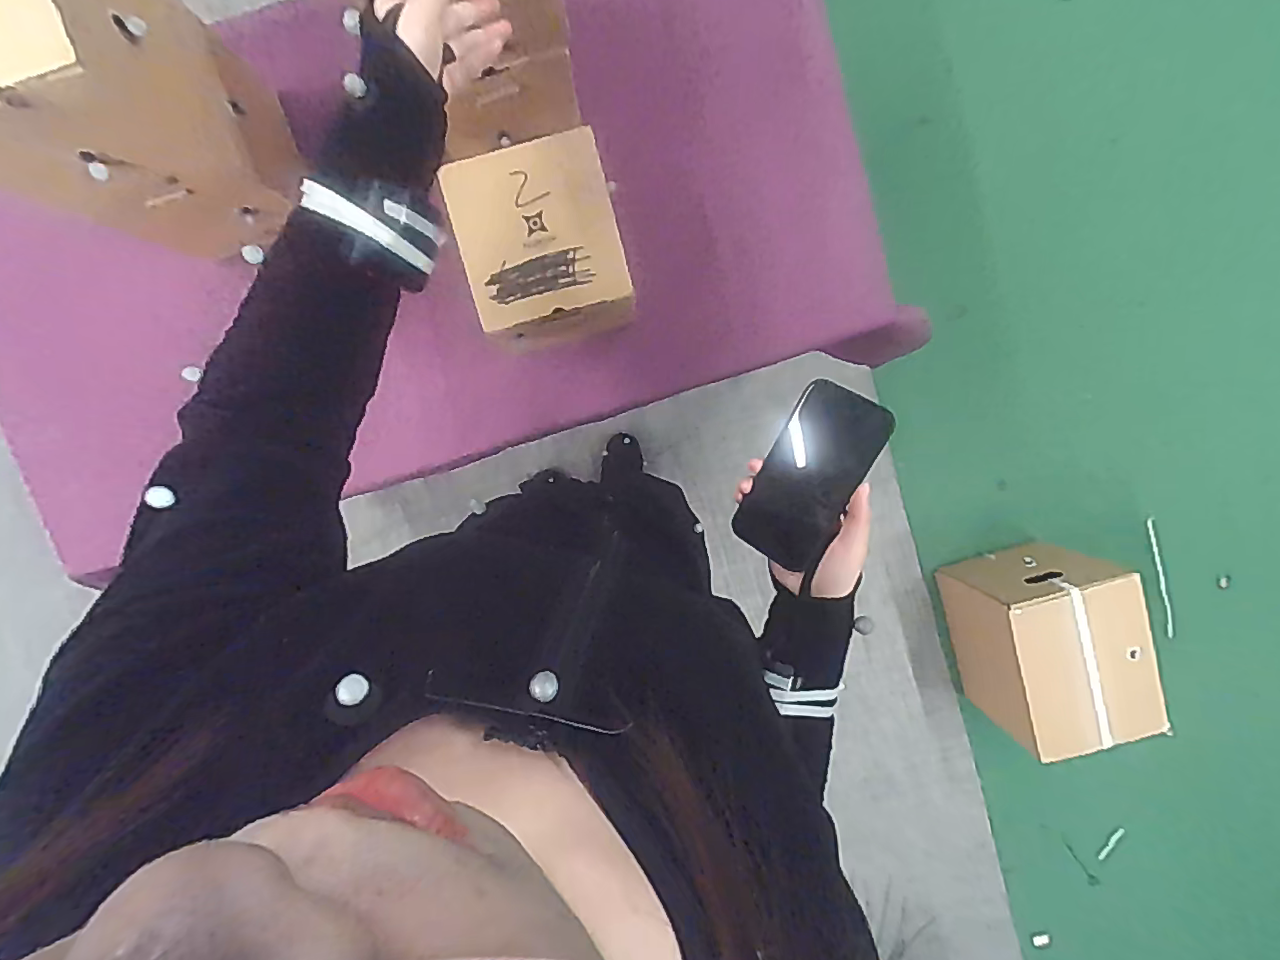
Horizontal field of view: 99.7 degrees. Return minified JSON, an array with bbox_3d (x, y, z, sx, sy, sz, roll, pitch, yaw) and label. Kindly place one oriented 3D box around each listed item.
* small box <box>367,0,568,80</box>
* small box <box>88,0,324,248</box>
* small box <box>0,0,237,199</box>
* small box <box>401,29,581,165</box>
[{"bbox_3d":[-0.167,-0.485,0.443,0.168,0.176,0.179,-16,98,2],"label":"small box"},{"bbox_3d":[-0.505,-0.386,0.619,0.168,0.176,0.179,-17,97,1],"label":"small box"},{"bbox_3d":[-0.495,-0.363,0.456,0.168,0.176,0.179,-17,98,0],"label":"small box"},{"bbox_3d":[-0.174,-0.499,0.607,0.168,0.176,0.179,-19,98,2],"label":"small box"}]
